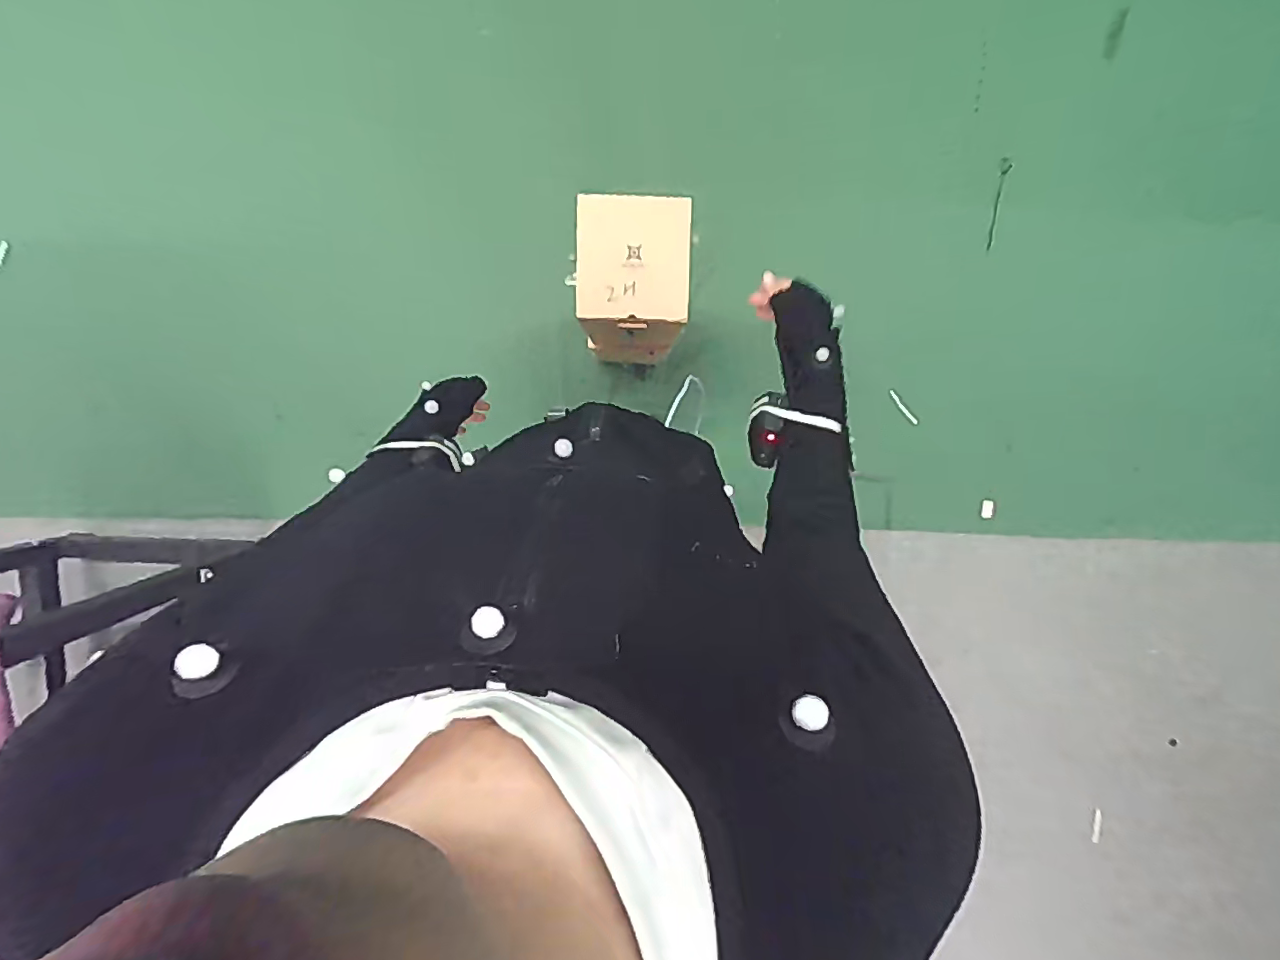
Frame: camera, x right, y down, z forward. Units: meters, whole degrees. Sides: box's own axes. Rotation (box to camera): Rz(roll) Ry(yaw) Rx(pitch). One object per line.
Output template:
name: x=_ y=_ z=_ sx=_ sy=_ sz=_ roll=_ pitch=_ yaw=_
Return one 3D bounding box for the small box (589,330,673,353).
small box: x=-0.017 y=-0.371 z=1.182 sx=0.179 sy=0.176 sz=0.168 roll=2 pitch=98 yaw=-2

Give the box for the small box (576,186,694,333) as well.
small box: x=-0.010 y=-0.337 z=0.855 sx=0.168 sy=0.176 sz=0.179 roll=2 pitch=97 yaw=-1

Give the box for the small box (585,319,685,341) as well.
small box: x=-0.007 y=-0.361 z=1.016 sx=0.179 sy=0.176 sz=0.168 roll=4 pitch=96 yaw=-2
